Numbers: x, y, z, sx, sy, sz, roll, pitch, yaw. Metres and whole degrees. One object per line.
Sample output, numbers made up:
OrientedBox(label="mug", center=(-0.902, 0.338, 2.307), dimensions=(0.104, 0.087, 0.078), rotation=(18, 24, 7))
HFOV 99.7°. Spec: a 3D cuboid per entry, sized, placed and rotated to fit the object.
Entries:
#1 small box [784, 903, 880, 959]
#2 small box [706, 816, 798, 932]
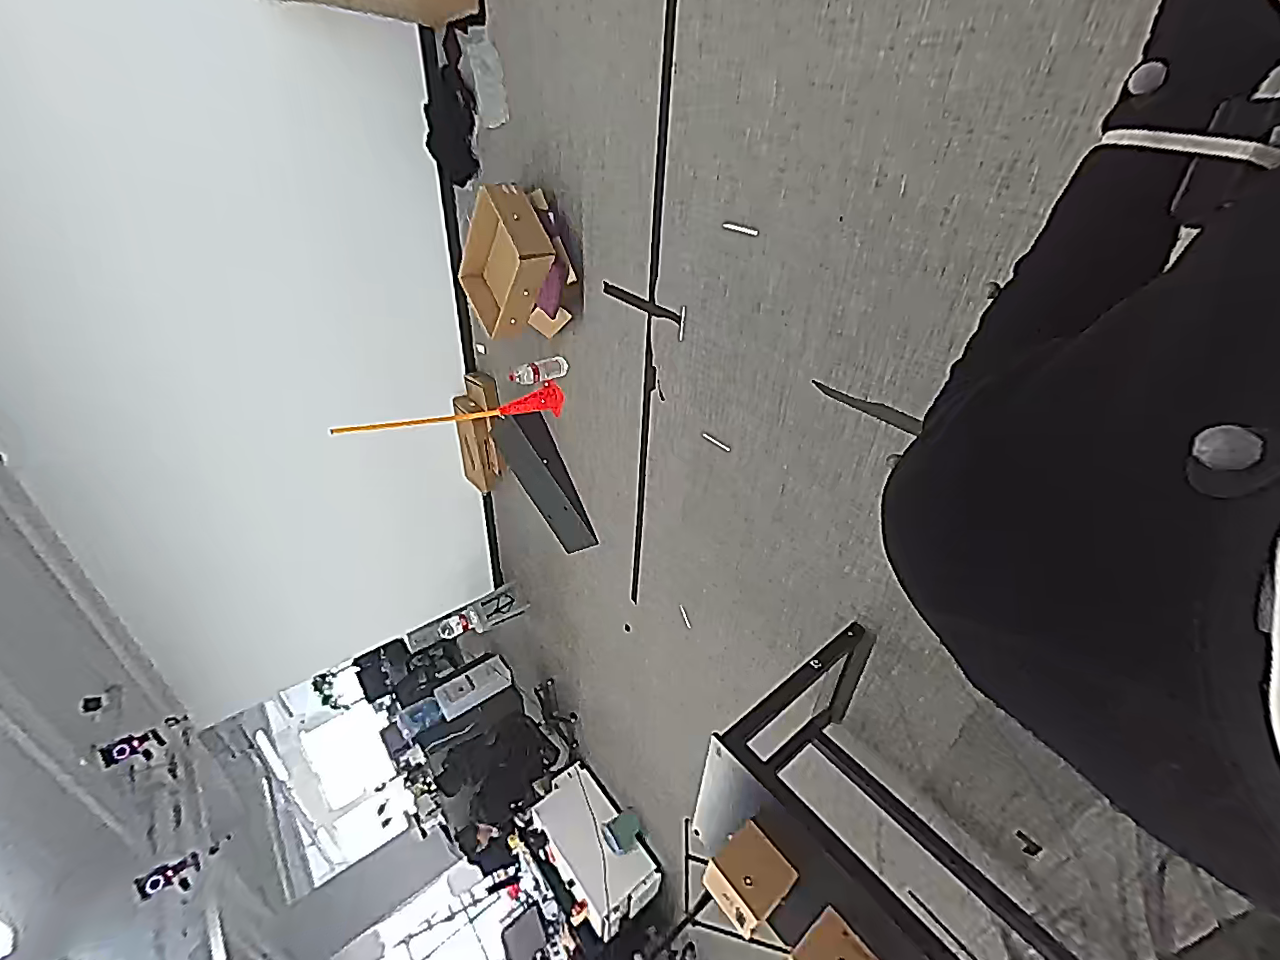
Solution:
OrientedBox(label="small box", center=(0.476, 1.207, 1.343), dimensions=(0.168, 0.176, 0.179), rotation=(38, 138, 38))
OrientedBox(label="small box", center=(0.312, 1.091, 1.509), dimensions=(0.179, 0.176, 0.168), rotation=(39, 138, 37))
